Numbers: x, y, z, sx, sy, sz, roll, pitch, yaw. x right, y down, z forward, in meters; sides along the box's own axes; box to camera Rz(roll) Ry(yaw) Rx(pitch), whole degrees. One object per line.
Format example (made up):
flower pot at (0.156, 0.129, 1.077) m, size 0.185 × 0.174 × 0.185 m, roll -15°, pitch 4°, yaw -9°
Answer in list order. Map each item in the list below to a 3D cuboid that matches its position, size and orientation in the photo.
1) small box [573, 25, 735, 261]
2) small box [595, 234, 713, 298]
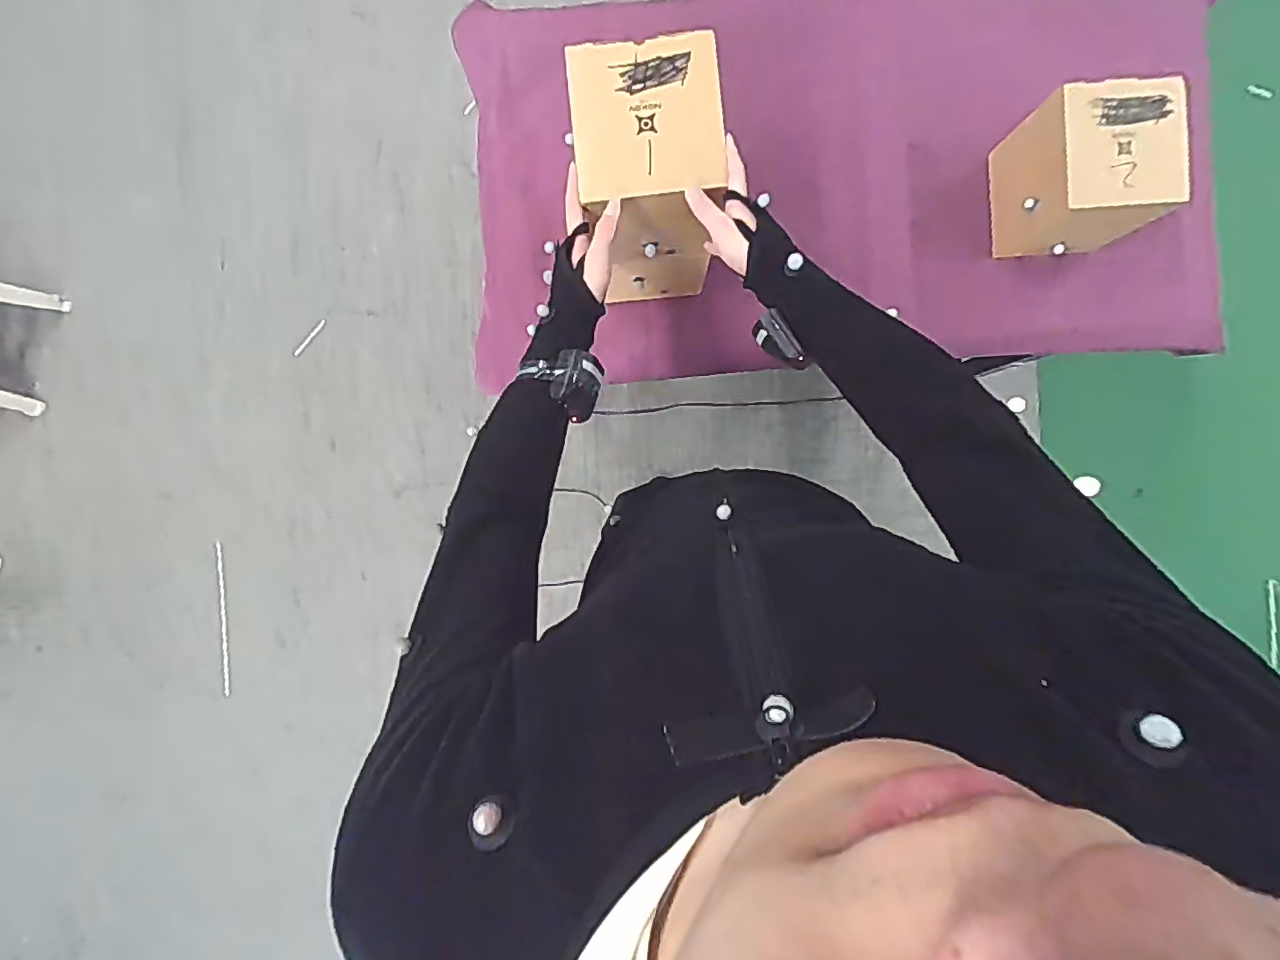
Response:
small box at (0.016, -0.392, 0.656) m, size 0.168 × 0.176 × 0.179 m, roll -5°, pitch 90°, yaw 2°
small box at (0.017, -0.393, 0.832) m, size 0.168 × 0.176 × 0.179 m, roll -6°, pitch 88°, yaw 1°
